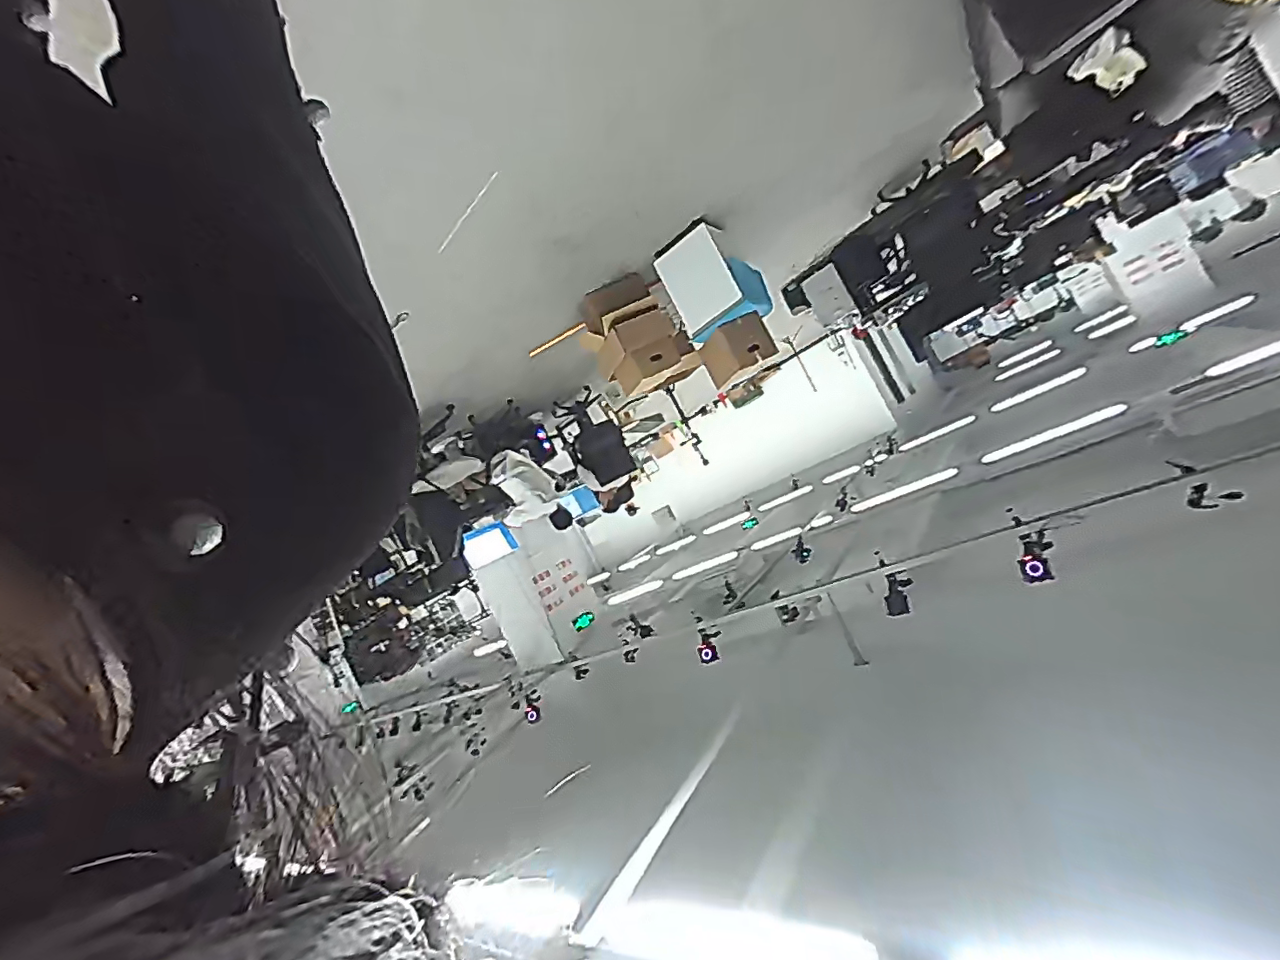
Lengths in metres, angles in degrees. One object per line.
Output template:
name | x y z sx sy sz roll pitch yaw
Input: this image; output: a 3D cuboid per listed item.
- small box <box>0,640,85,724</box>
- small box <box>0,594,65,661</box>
small box | -1.869 0.619 1.667 0.168 0.176 0.179 -31 177 42
small box | -1.943 0.476 1.680 0.168 0.176 0.179 -30 177 40
